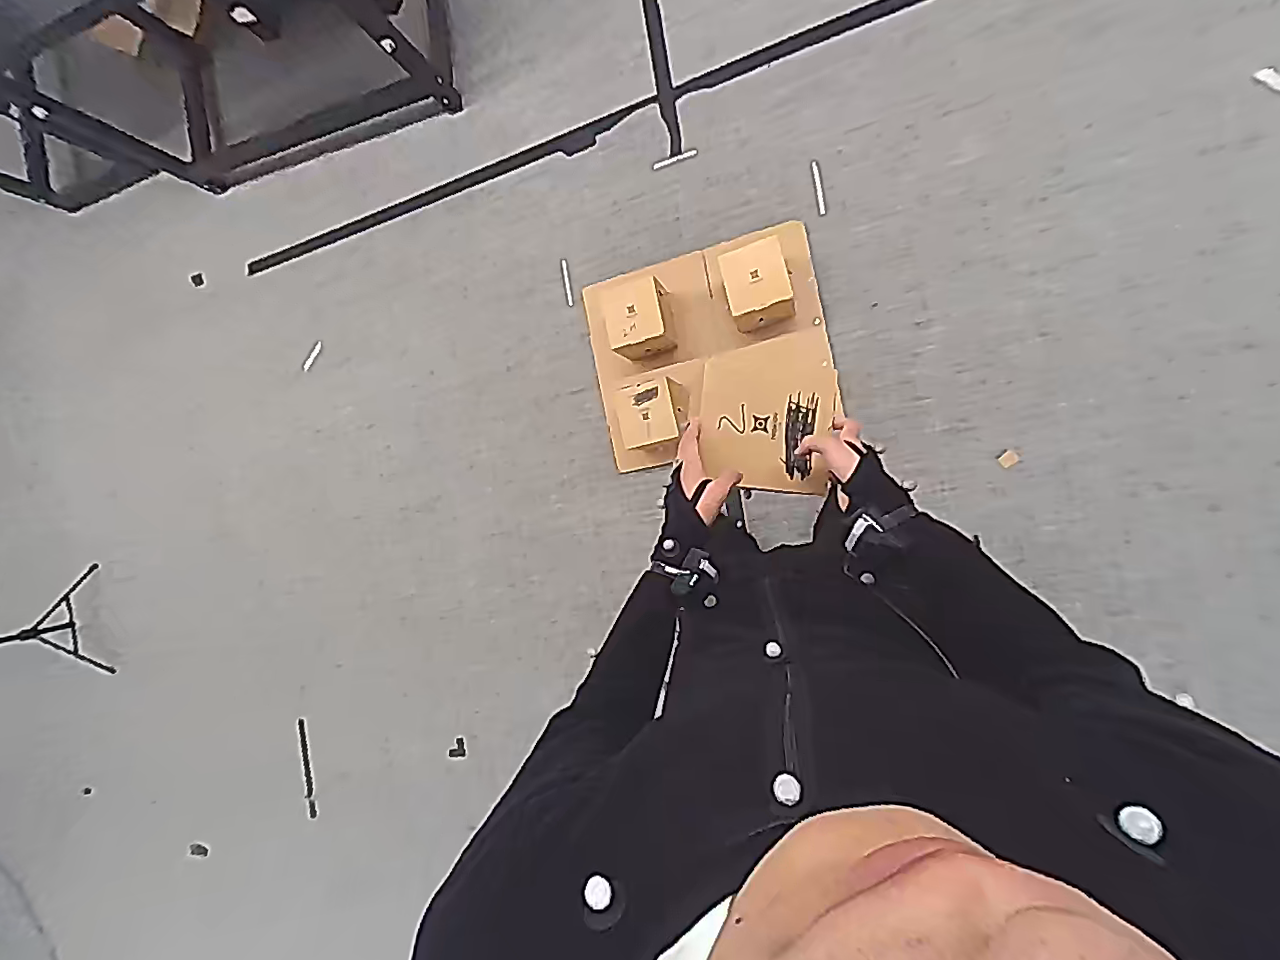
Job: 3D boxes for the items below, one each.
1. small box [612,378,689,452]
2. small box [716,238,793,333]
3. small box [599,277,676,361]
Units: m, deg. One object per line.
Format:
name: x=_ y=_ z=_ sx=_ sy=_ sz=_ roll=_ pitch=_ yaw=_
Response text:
small box: x=0.035 y=-0.185 z=1.596 sx=0.168 sy=0.176 sz=0.179 roll=-13 pitch=89 yaw=18
small box: x=0.321 y=-0.531 z=1.504 sx=0.168 sy=0.176 sz=0.179 roll=-16 pitch=87 yaw=17
small box: x=-0.003 y=-0.467 z=1.598 sx=0.168 sy=0.176 sz=0.179 roll=-12 pitch=88 yaw=18
